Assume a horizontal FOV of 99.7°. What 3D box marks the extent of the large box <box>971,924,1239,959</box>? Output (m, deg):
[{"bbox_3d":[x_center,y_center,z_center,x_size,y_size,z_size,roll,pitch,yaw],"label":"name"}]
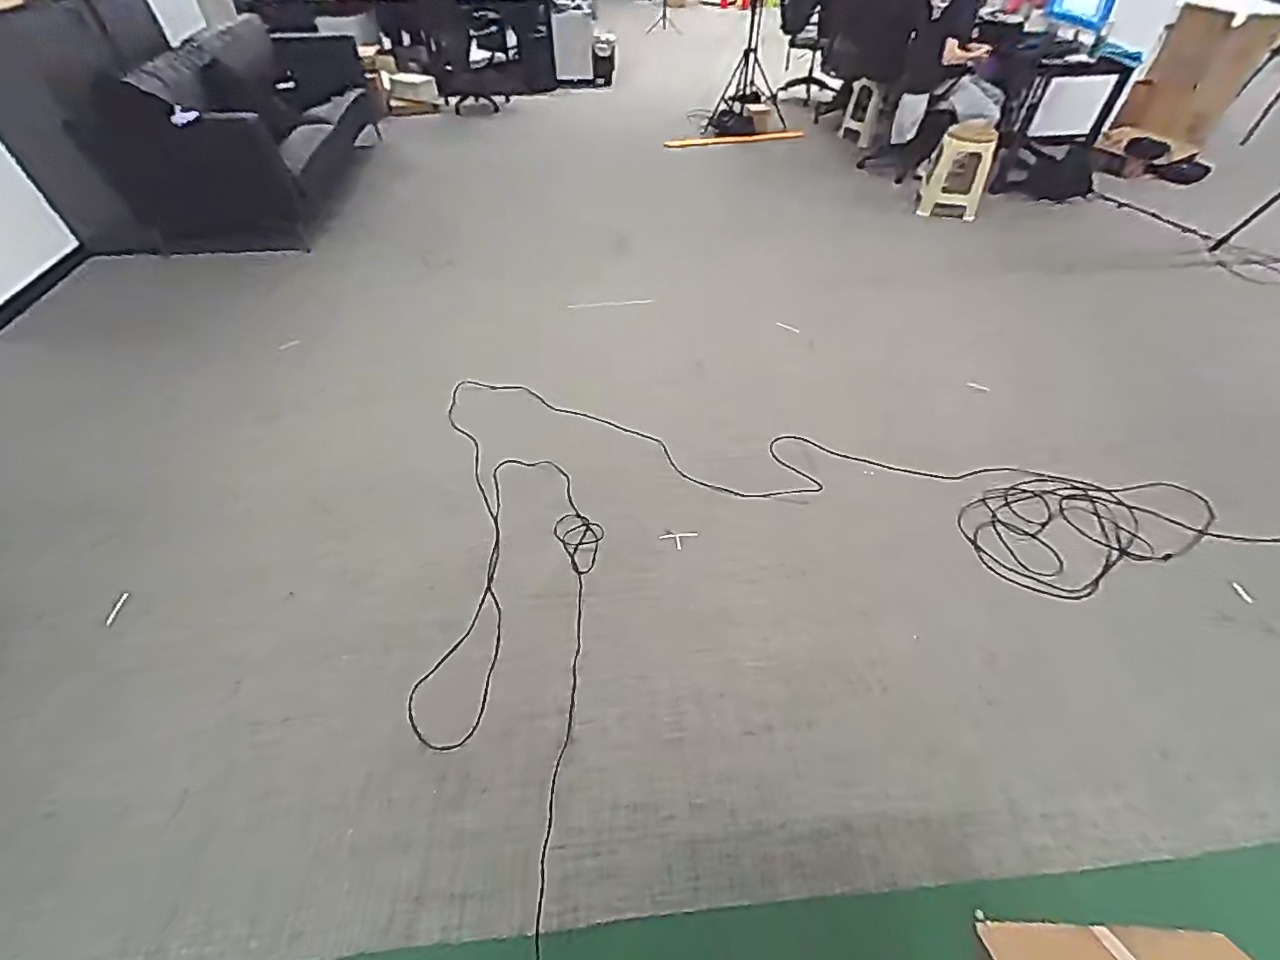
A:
[{"bbox_3d":[0.601,0.762,0.540,0.320,0.408,0.320,-2,89,7],"label":"large box"}]
